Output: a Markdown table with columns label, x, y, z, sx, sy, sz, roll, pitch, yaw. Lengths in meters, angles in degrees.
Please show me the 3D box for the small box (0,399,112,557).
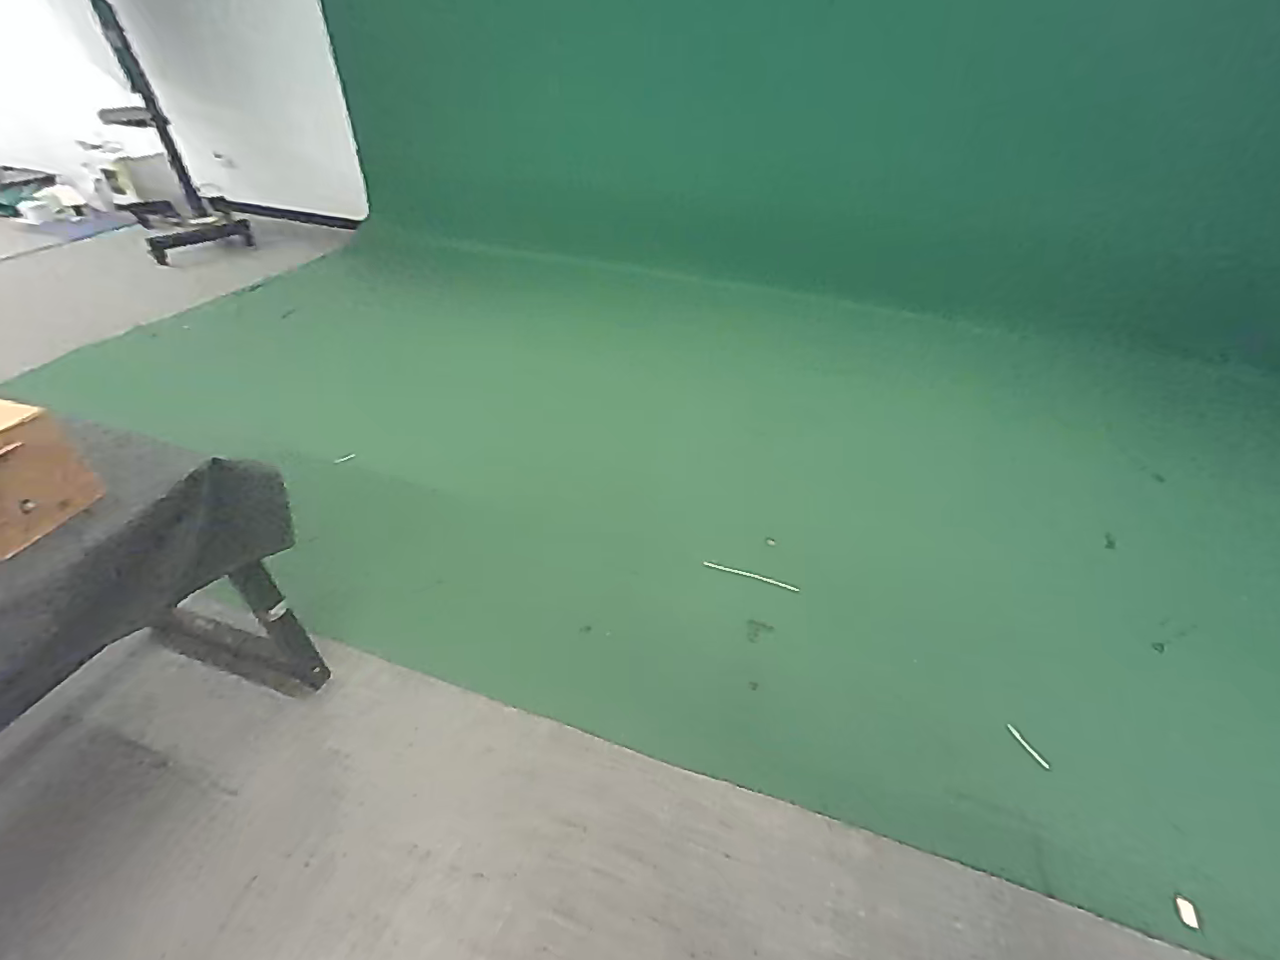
| label | x | y | z | sx | sy | sz | roll | pitch | yaw |
| --- | --- | --- | --- | --- | --- | --- | --- | --- | --- |
| small box | -0.978 | -0.007 | 0.810 | 0.179 | 0.176 | 0.168 | 11 | 41 | 9 |
